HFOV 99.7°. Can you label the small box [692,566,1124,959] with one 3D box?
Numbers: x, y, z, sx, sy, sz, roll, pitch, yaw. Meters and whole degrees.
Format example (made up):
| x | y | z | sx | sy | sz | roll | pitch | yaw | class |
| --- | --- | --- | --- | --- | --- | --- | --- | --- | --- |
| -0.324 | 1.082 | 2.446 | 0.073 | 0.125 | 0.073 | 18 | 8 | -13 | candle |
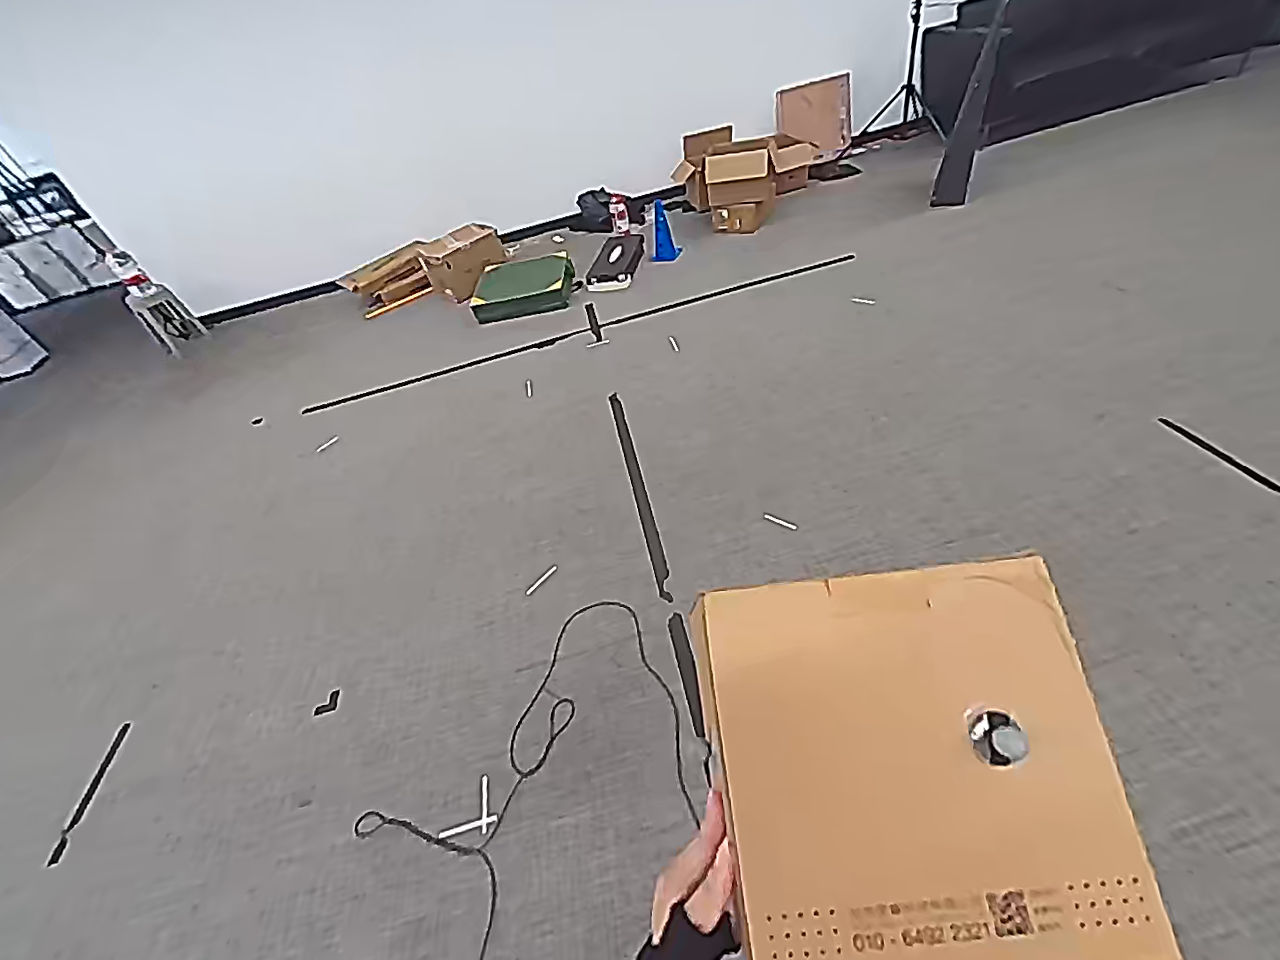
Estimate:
| x | y | z | sx | sy | sz | roll | pitch | yaw | class |
| --- | --- | --- | --- | --- | --- | --- | --- | --- | --- |
| 0.125 | 0.157 | 0.327 | 0.168 | 0.179 | 0.176 | -7 | 72 | 2 | small box |
